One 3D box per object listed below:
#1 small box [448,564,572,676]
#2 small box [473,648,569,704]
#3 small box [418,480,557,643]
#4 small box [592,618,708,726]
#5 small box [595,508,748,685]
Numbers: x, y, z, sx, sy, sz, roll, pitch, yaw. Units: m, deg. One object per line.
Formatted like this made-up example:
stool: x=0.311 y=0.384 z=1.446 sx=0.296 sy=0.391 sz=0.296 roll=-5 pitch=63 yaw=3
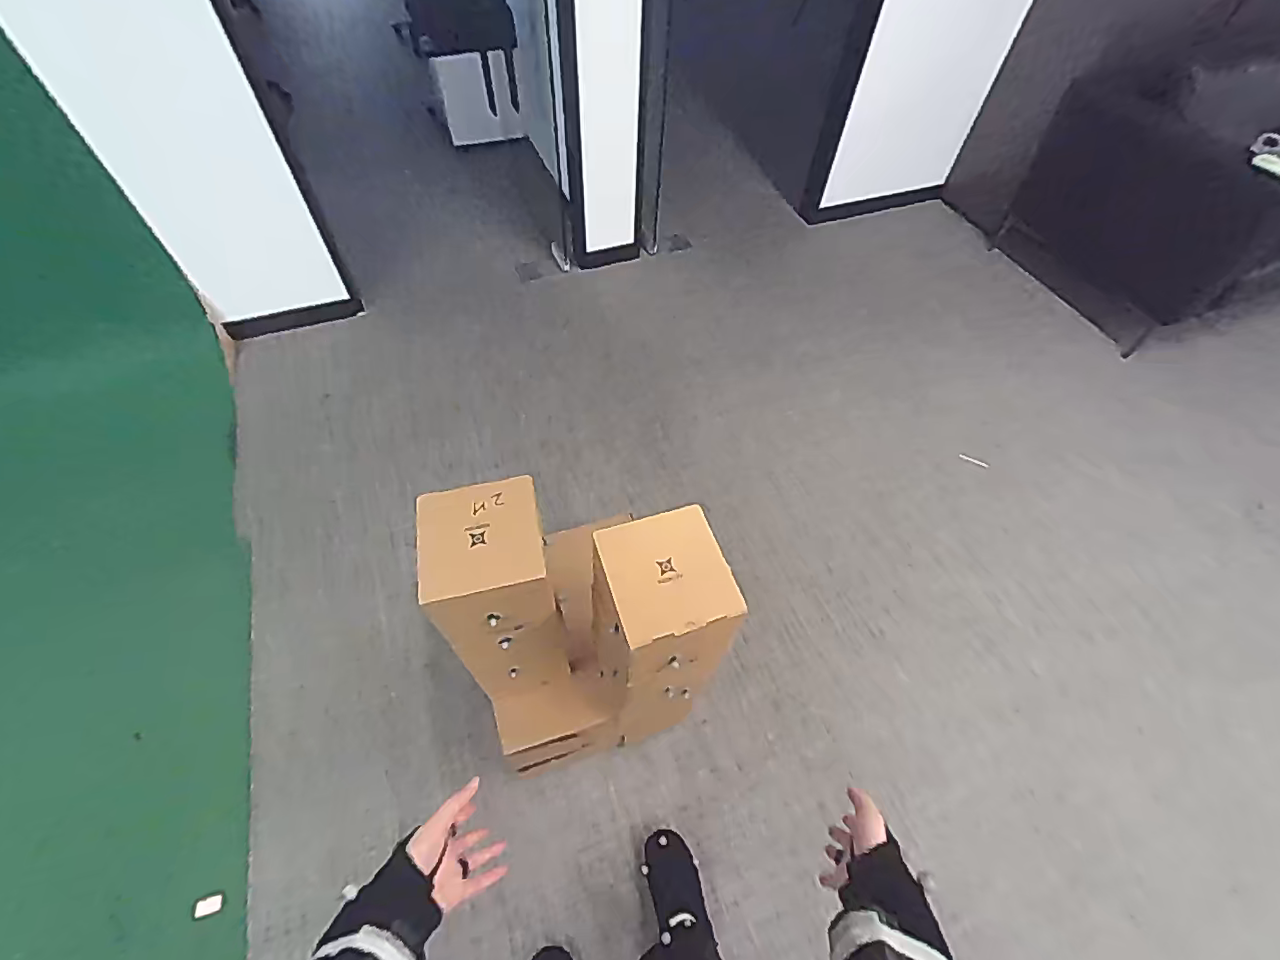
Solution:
small box: x=-0.231 y=0.219 z=0.944 sx=0.179 sy=0.176 sz=0.168 roll=-17 pitch=56 yaw=-11
small box: x=-0.245 y=0.318 z=1.079 sx=0.168 sy=0.176 sz=0.179 roll=-15 pitch=55 yaw=-13
small box: x=-0.223 y=0.128 z=0.809 sx=0.168 sy=0.176 sz=0.179 roll=-10 pitch=55 yaw=-10
small box: x=0.012 y=0.357 z=1.061 sx=0.179 sy=0.176 sz=0.168 roll=-16 pitch=56 yaw=-14
small box: x=0.033 y=0.172 z=0.792 sx=0.168 sy=0.176 sz=0.179 roll=-14 pitch=56 yaw=-13
